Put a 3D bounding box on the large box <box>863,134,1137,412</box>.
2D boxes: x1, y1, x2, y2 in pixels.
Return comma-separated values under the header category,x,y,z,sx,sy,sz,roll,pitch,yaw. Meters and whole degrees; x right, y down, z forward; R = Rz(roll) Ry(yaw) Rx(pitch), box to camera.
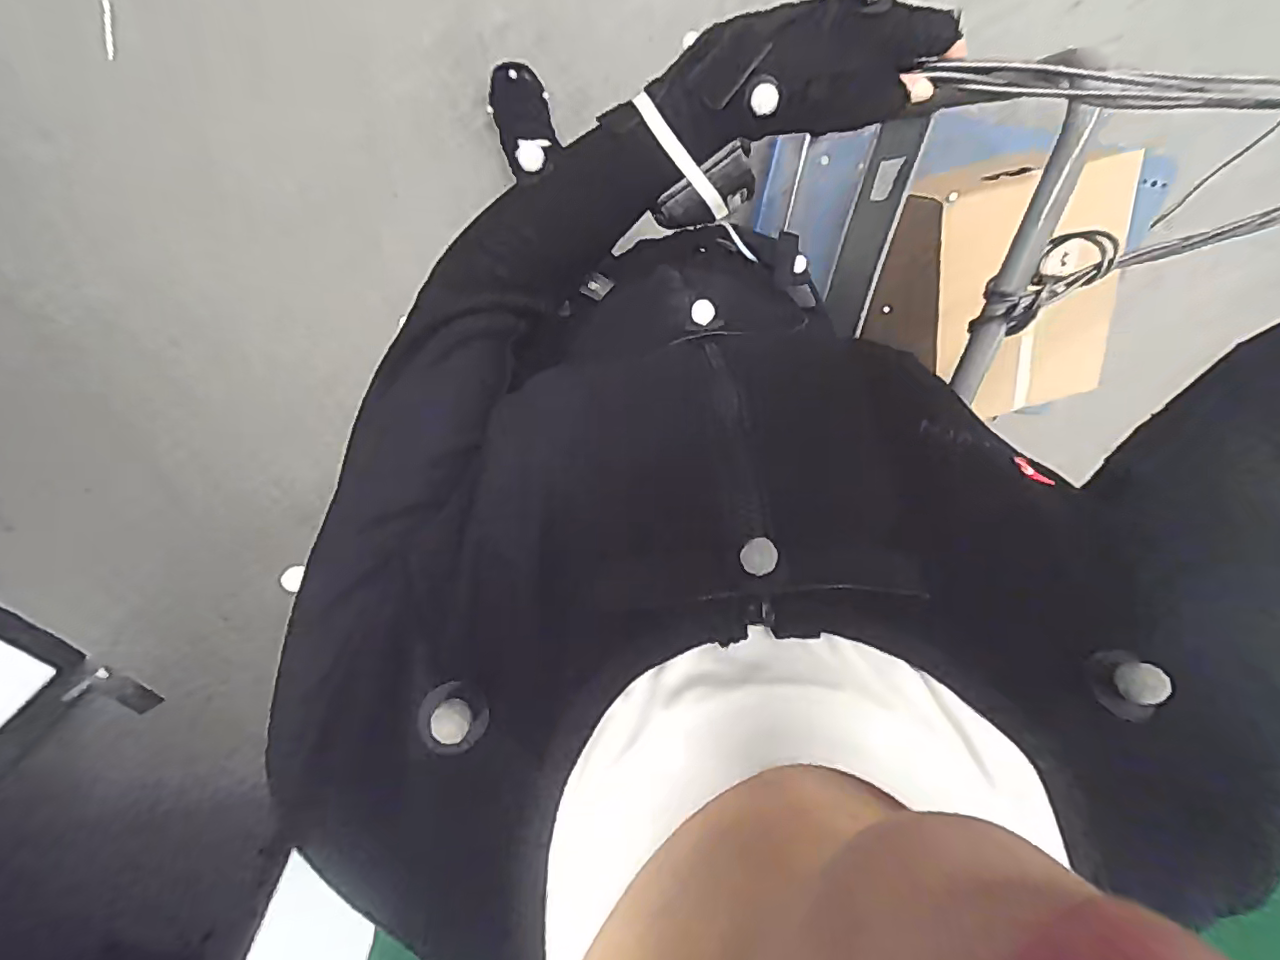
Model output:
category,x,y,z,sx,sy,sz,roll,pitch,yaw
large box,0.657,-0.403,1.065,0.320,0.320,0.408,-14,119,3
